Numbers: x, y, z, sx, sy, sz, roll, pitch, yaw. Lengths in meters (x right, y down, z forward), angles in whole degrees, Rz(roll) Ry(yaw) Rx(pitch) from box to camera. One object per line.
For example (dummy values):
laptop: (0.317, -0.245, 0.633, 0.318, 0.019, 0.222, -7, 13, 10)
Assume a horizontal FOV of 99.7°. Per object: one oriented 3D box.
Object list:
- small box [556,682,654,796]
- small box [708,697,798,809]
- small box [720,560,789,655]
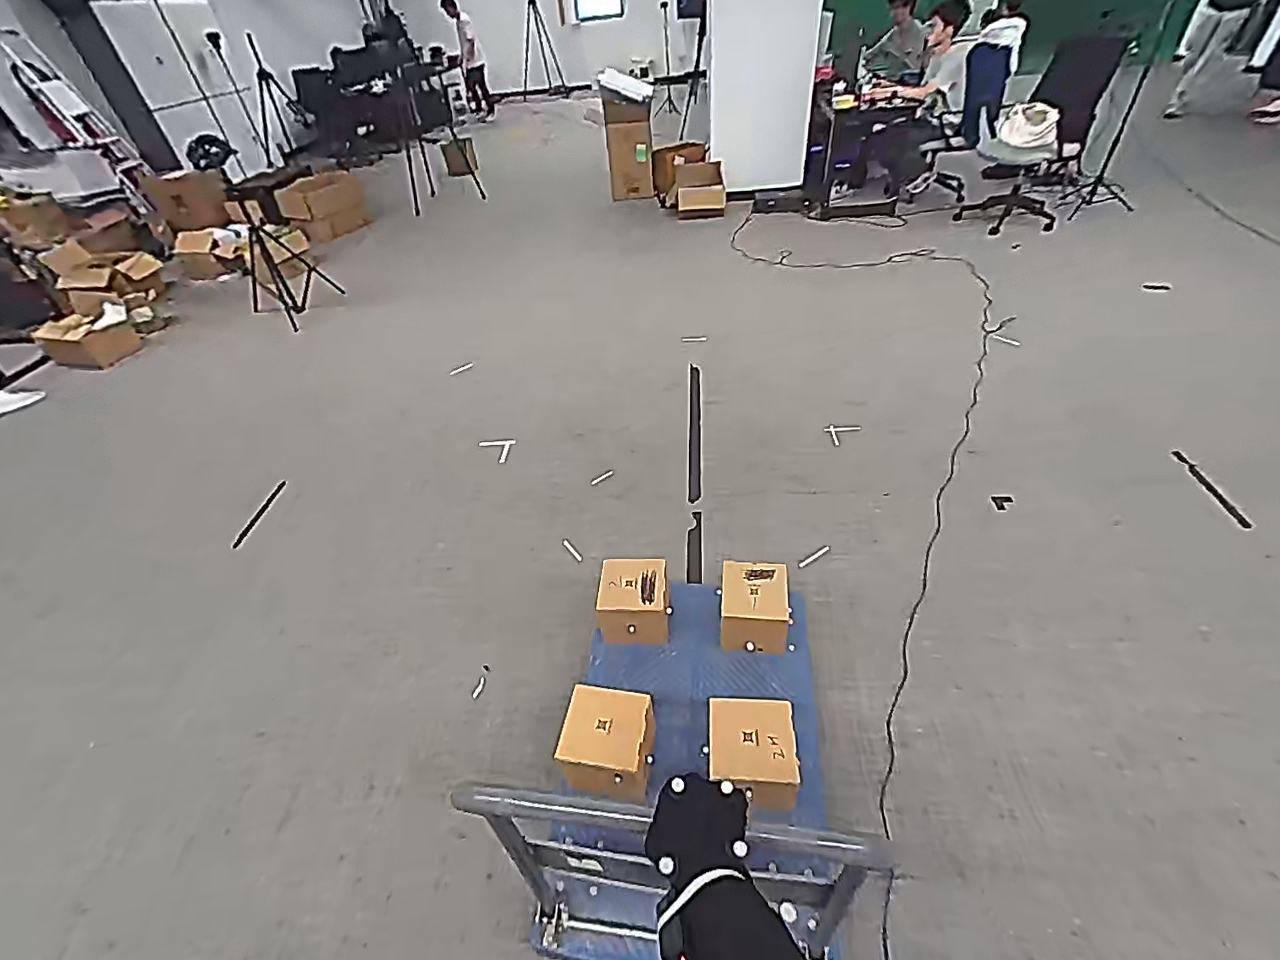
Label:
small box: (-0.070, 0.582, 1.211, 0.179, 0.176, 0.168, 5, 42, 10)
small box: (0.237, 0.587, 1.163, 0.179, 0.176, 0.168, 0, 42, 8)
small box: (0.301, 0.336, 1.432, 0.168, 0.176, 0.179, 2, 44, 10)
